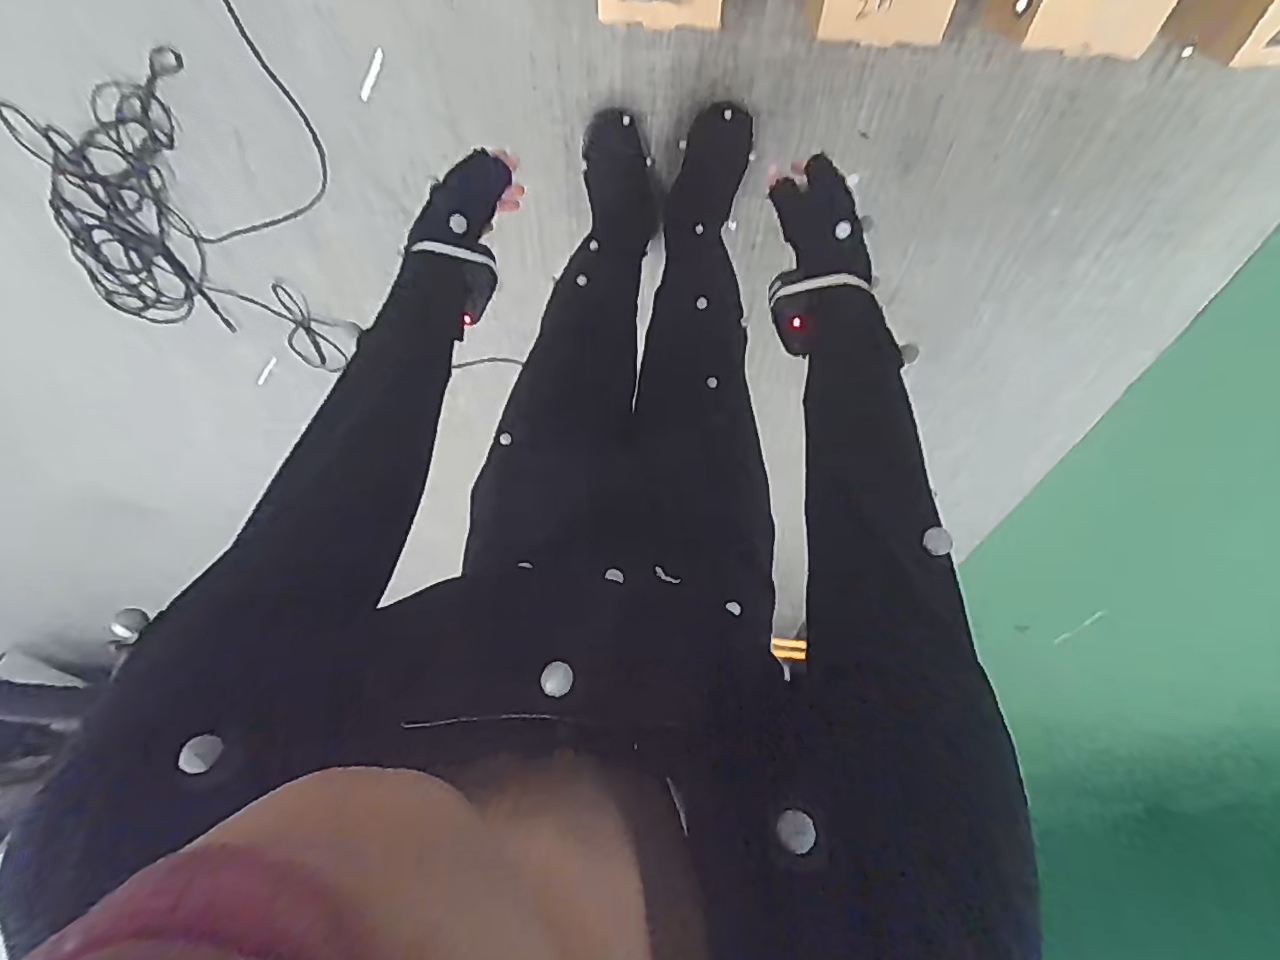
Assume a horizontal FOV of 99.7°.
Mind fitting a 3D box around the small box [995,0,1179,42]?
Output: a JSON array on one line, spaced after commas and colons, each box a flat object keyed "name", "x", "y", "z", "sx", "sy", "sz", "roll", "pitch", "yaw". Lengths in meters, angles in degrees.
[{"name": "small box", "x": 0.594, "y": -0.692, "z": 0.686, "sx": 0.168, "sy": 0.176, "sz": 0.179, "roll": 5, "pitch": 141, "yaw": 0}]

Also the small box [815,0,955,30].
[{"name": "small box", "x": 0.326, "y": -0.710, "z": 0.692, "sx": 0.168, "sy": 0.176, "sz": 0.179, "roll": 5, "pitch": 141, "yaw": 3}]

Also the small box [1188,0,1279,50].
[{"name": "small box", "x": 0.861, "y": -0.671, "z": 0.678, "sx": 0.168, "sy": 0.176, "sz": 0.179, "roll": 3, "pitch": 140, "yaw": 3}]
